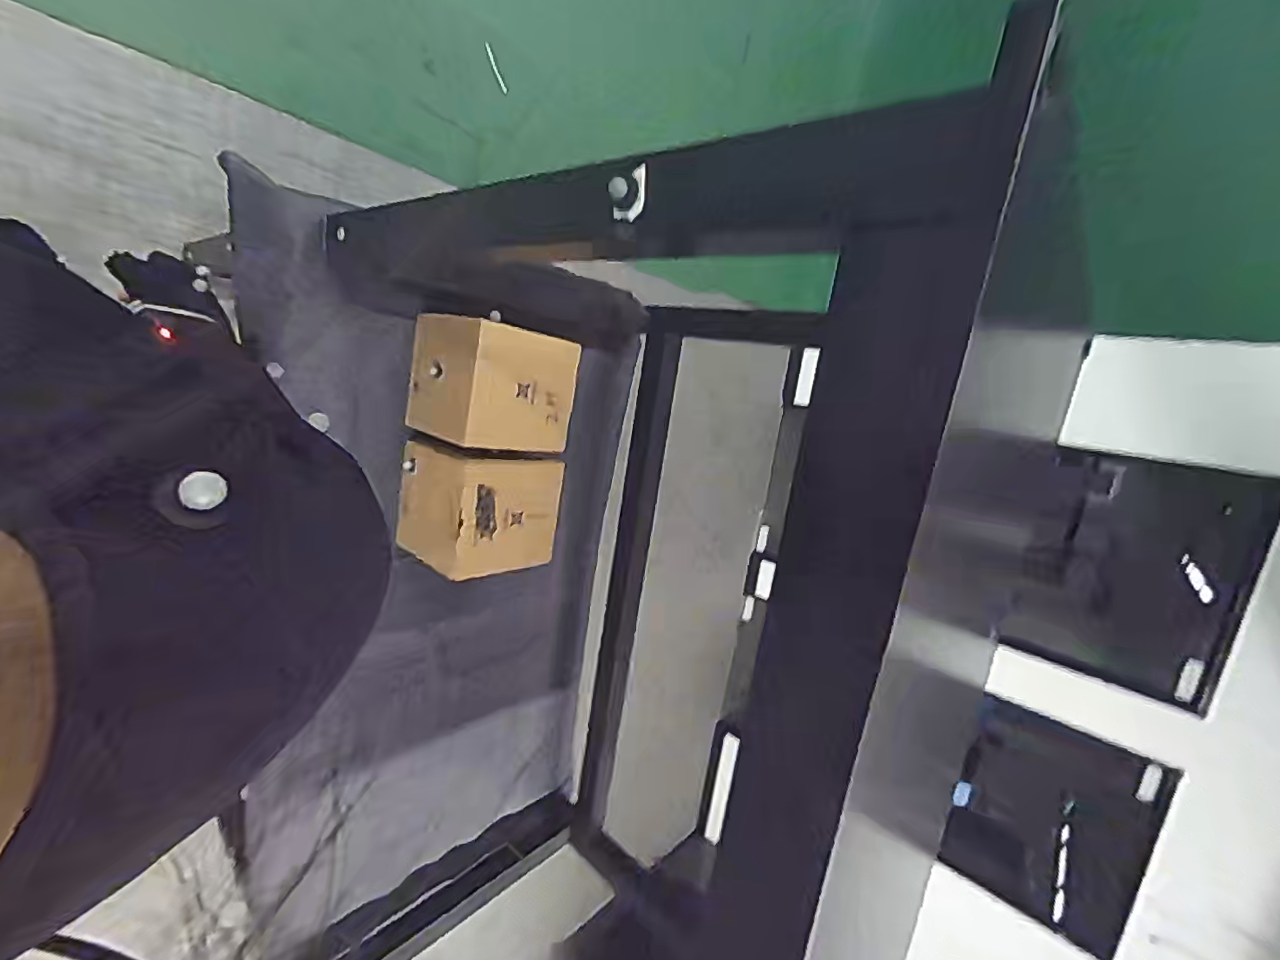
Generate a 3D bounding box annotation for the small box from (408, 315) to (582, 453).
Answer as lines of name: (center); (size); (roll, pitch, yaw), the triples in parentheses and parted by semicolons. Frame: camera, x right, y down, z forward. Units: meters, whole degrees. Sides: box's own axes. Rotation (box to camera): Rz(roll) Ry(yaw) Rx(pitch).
small box: (-0.217, -0.141, 0.797); (0.179, 0.176, 0.168); (1, 105, -50)
